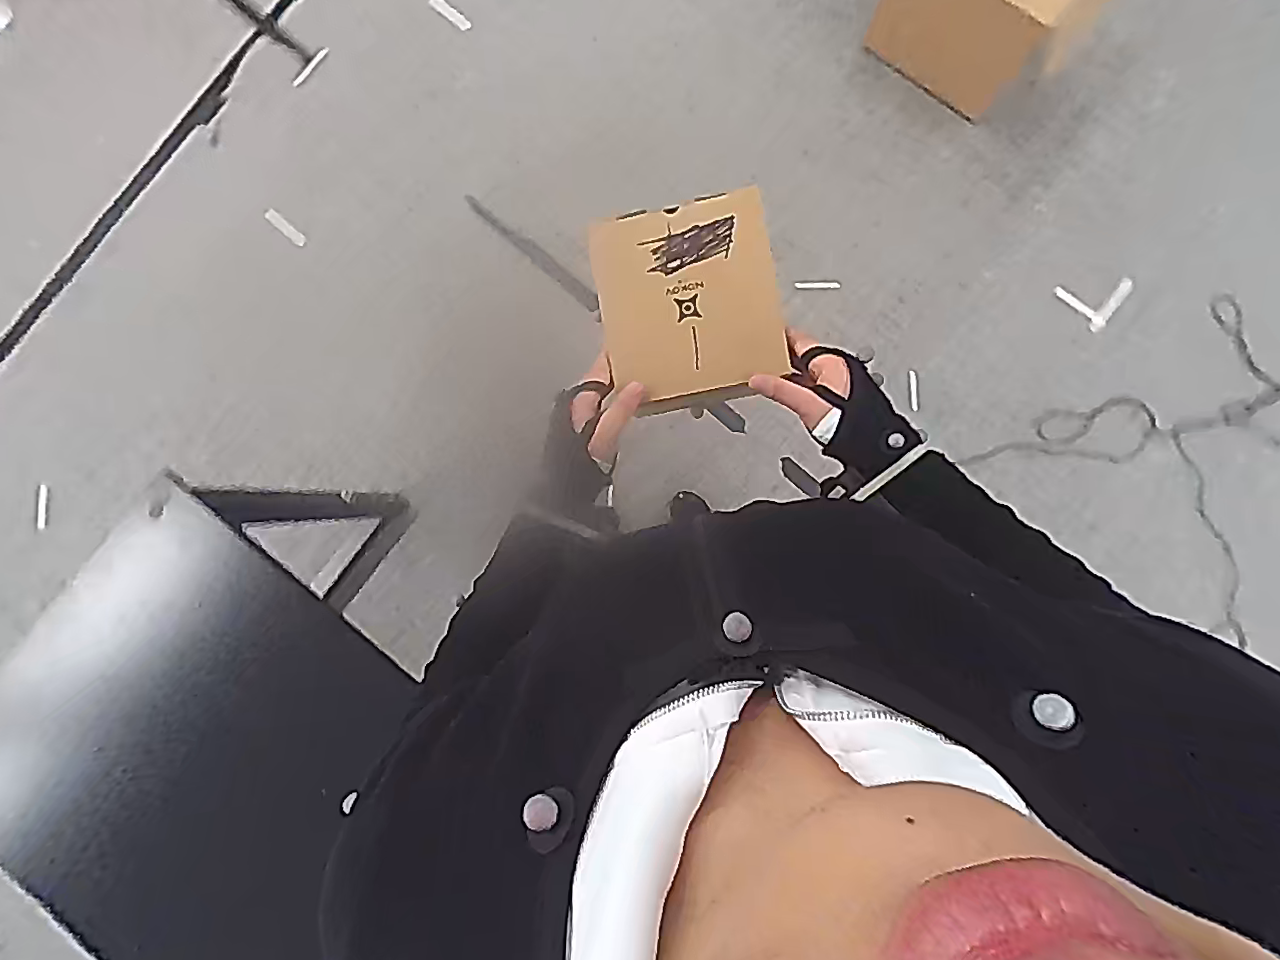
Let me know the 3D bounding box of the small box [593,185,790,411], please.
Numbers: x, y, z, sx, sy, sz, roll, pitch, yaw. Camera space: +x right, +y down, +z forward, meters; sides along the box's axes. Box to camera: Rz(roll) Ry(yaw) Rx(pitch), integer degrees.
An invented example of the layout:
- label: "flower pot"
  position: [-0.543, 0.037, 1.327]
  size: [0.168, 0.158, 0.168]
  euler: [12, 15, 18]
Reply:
- label: "small box"
  position: [0.053, -0.178, 0.584]
  size: [0.168, 0.176, 0.179]
  euler: [-9, 93, 5]
